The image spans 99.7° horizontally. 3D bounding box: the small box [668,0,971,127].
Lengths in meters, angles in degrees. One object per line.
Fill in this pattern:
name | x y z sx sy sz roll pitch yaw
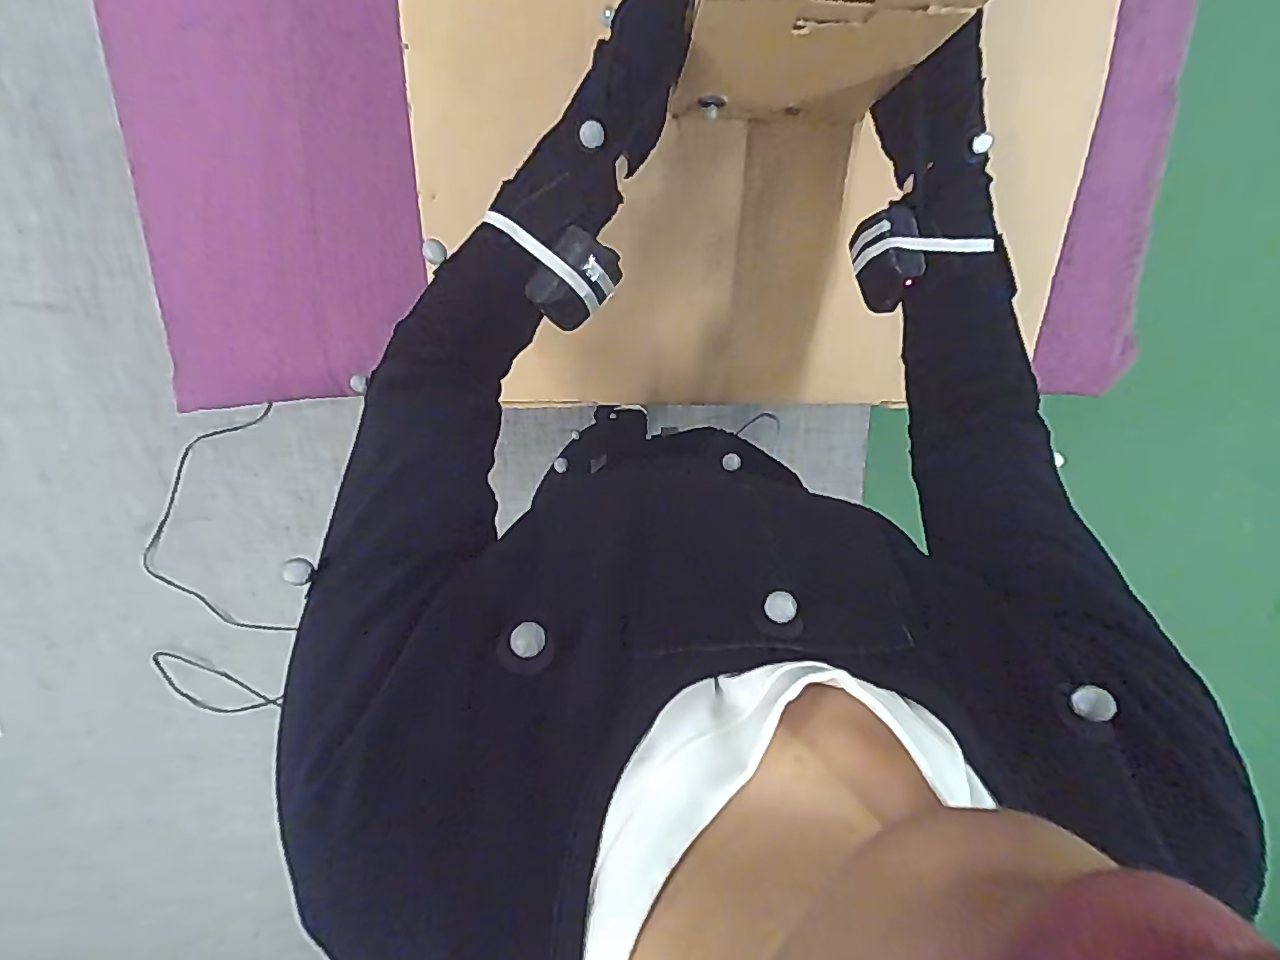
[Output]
small box | 0.112 -0.373 0.375 0.168 0.176 0.179 0 103 -4
